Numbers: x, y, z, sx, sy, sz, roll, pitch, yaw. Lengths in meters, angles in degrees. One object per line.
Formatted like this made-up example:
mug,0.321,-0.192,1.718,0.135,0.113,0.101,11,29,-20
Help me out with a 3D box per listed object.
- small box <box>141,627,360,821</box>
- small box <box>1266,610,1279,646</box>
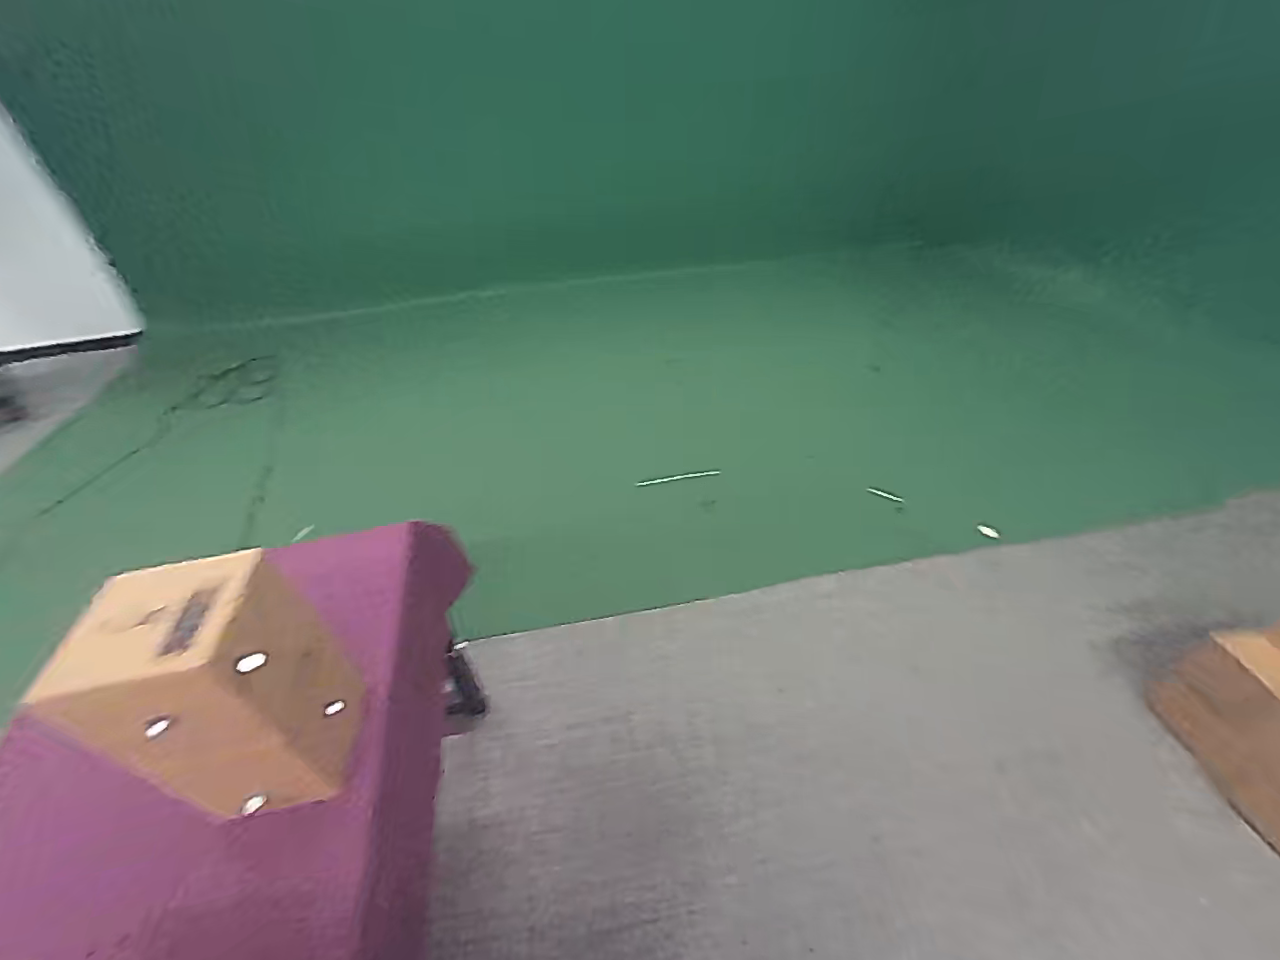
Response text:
small box,-0.518,0.339,0.756,0.168,0.176,0.179,-10,41,-5
small box,1.567,0.339,1.189,0.179,0.176,0.168,-6,39,-4
